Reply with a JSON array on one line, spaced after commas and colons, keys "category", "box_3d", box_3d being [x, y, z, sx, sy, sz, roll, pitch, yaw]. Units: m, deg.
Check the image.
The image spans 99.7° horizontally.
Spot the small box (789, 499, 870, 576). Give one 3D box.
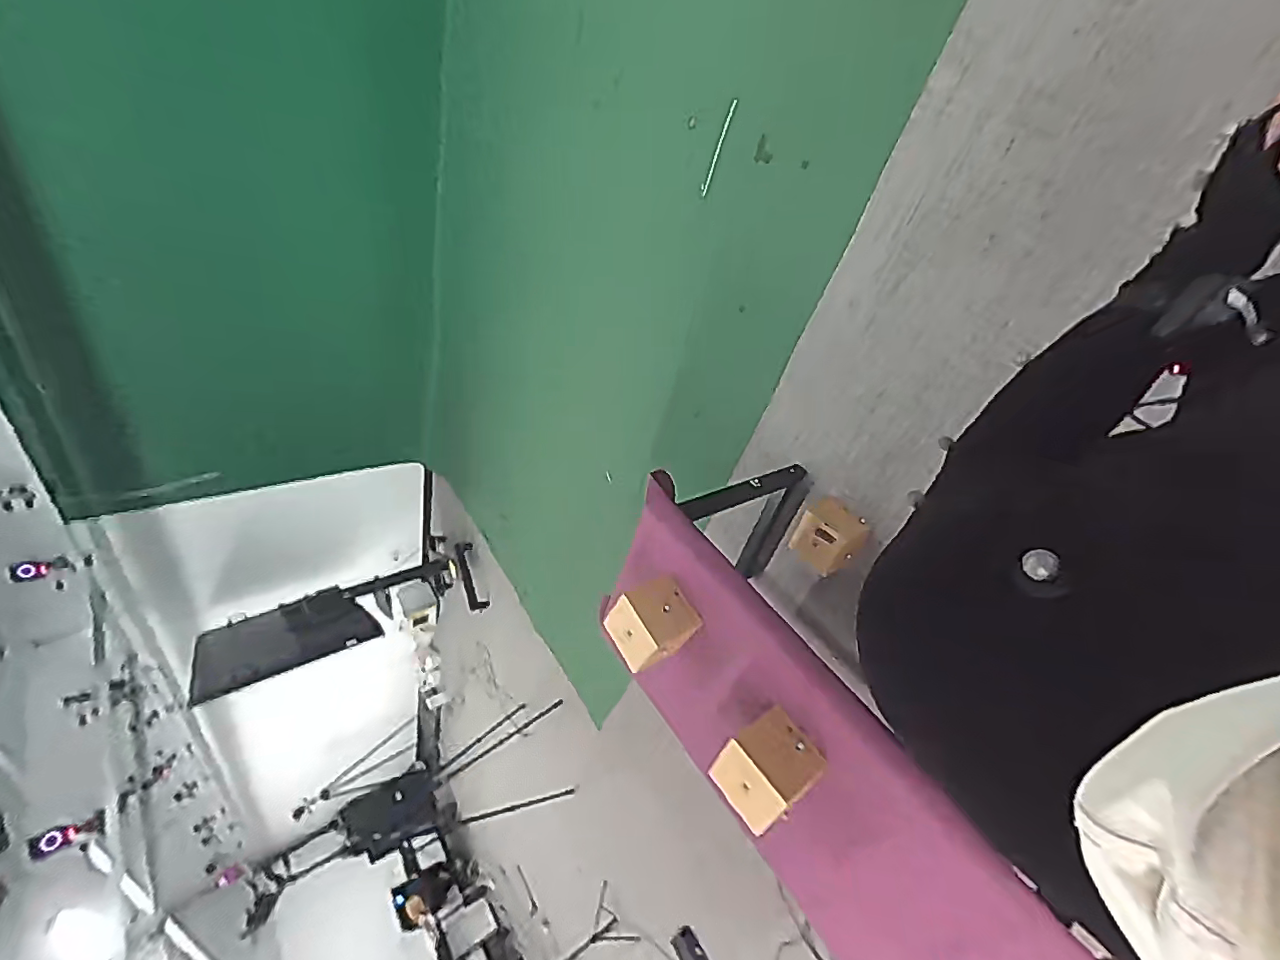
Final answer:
[{"category": "small box", "box_3d": [0.648, 0.188, 1.838, 0.168, 0.176, 0.179, 45, 135, 34]}]

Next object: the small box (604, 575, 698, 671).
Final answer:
[{"category": "small box", "box_3d": [0.034, 0.389, 1.490, 0.168, 0.176, 0.179, 55, 139, 25]}]

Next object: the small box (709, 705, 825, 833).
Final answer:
[{"category": "small box", "box_3d": [0.294, 0.663, 1.253, 0.168, 0.176, 0.179, 45, 134, 33]}]
